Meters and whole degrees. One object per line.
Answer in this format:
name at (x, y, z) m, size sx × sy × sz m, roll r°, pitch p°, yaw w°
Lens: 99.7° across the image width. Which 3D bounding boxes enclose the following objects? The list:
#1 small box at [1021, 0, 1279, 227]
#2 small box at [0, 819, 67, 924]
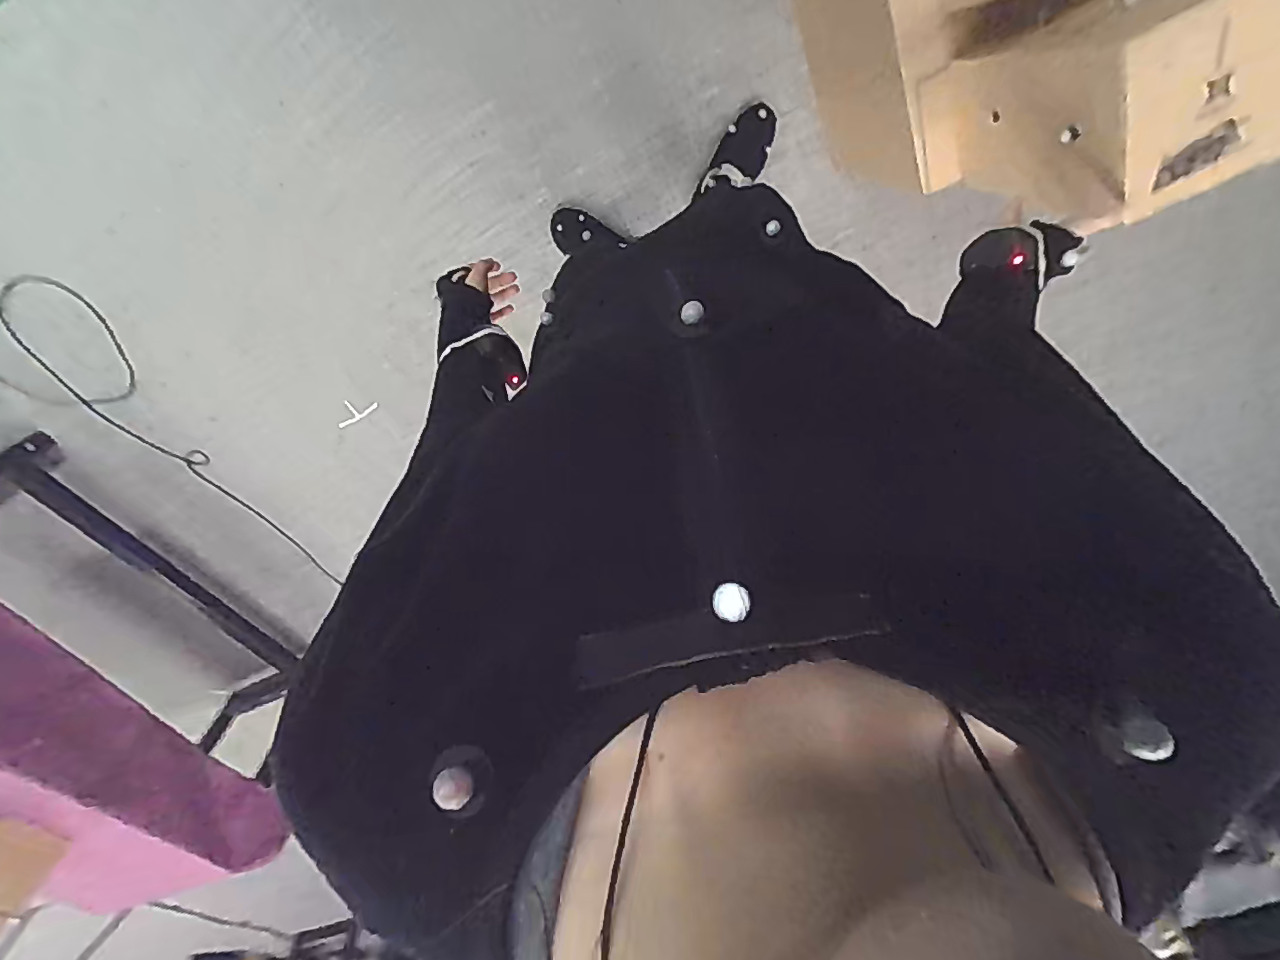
small box at (0.553, -0.410, 0.588) m, size 0.168 × 0.176 × 0.179 m, roll -23°, pitch 120°, yaw 13°
small box at (-1.585, 0.958, 1.314) m, size 0.168 × 0.176 × 0.179 m, roll -25°, pitch 119°, yaw 15°
